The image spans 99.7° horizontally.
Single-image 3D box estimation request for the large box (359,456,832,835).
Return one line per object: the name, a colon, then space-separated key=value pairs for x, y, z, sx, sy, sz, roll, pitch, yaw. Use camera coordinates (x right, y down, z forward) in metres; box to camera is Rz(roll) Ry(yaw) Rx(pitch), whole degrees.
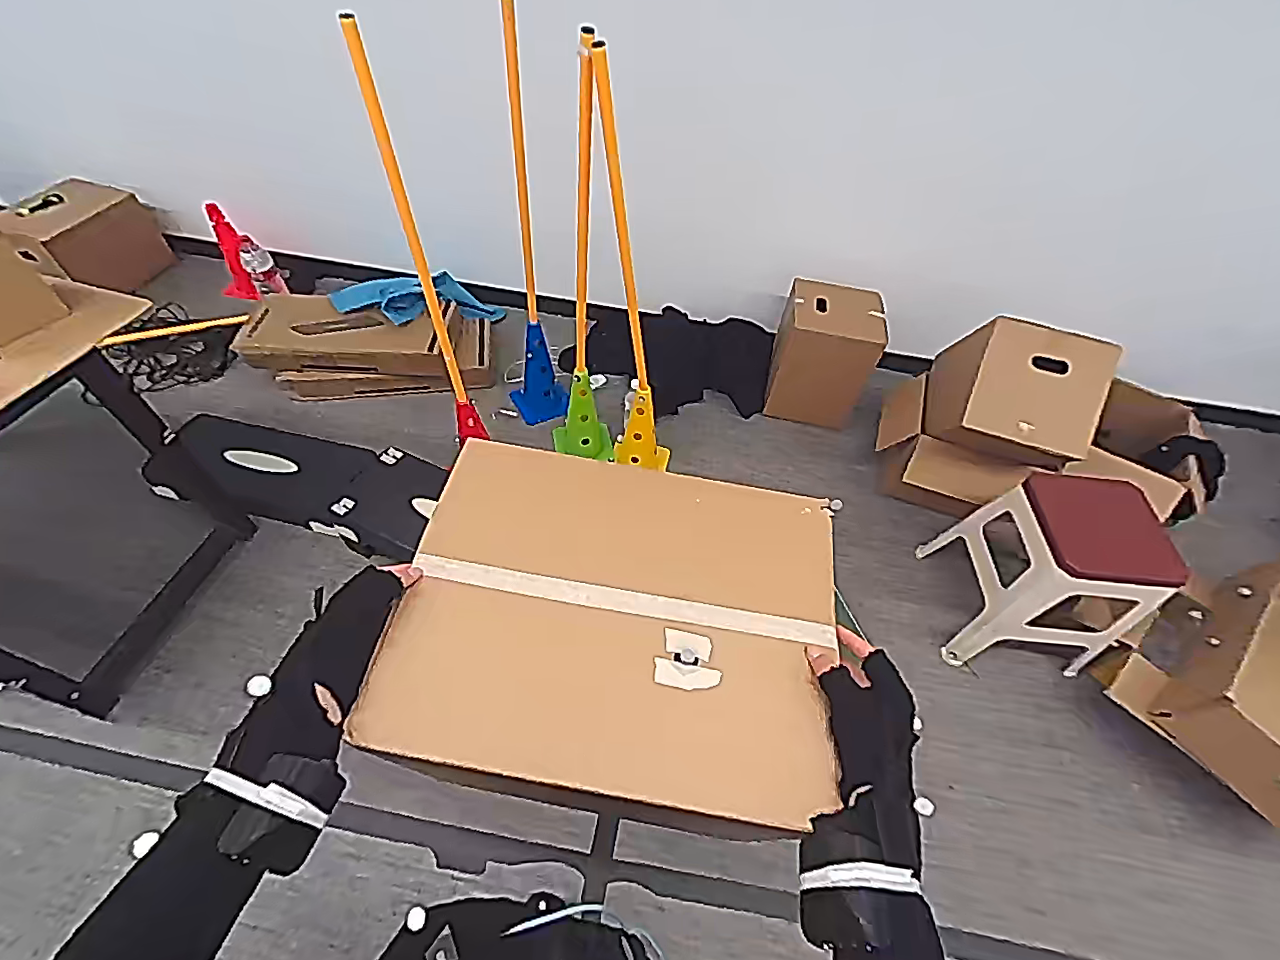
large box: x=-0.031 y=0.209 z=0.648 sx=0.408 sy=0.320 sz=0.320 roll=10 pitch=57 yaw=1
